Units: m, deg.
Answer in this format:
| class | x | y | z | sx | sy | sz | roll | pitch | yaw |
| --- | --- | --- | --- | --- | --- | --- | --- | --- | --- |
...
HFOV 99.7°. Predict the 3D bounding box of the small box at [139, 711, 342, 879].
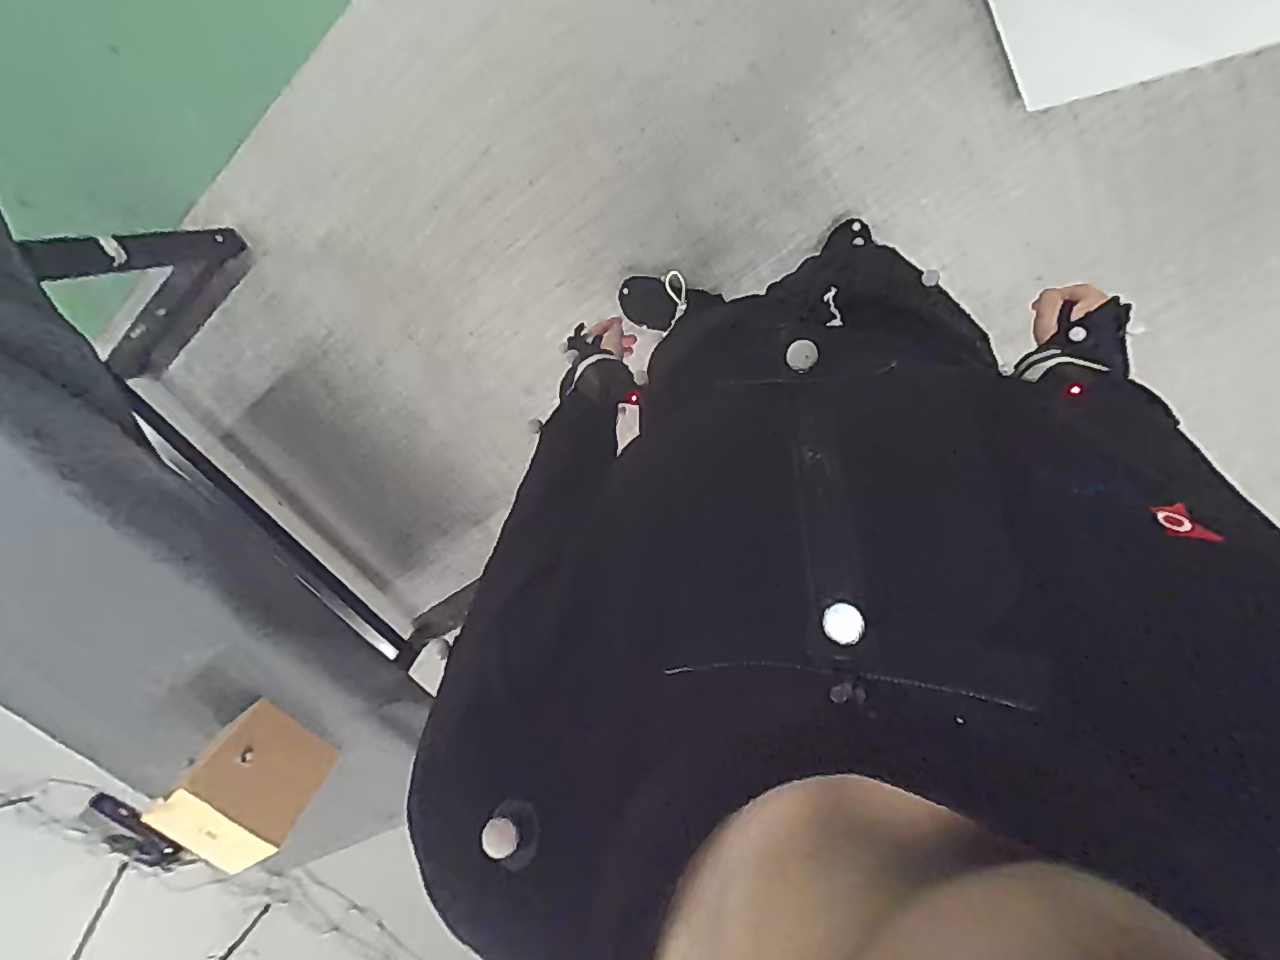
| class | x | y | z | sx | sy | sz | roll | pitch | yaw |
| --- | --- | --- | --- | --- | --- | --- | --- | --- | --- |
| small box | -0.651 | 0.513 | 0.901 | 0.168 | 0.176 | 0.179 | -36 | 108 | 24 |
